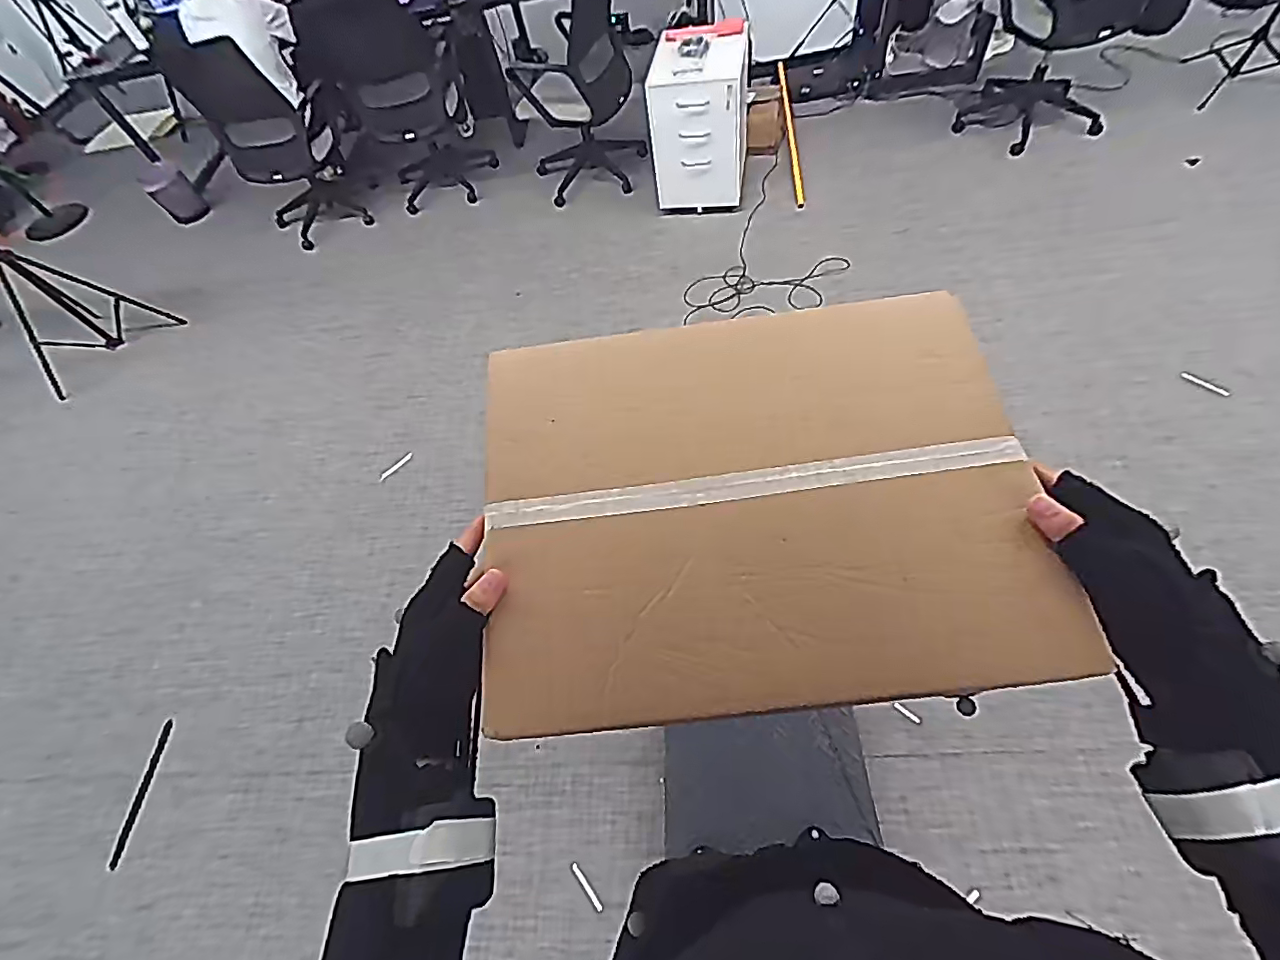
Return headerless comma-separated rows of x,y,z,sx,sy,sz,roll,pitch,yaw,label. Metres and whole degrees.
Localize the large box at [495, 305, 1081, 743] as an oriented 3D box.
0.097,0.070,0.558,0.408,0.320,0.320,-8,66,3,large box
